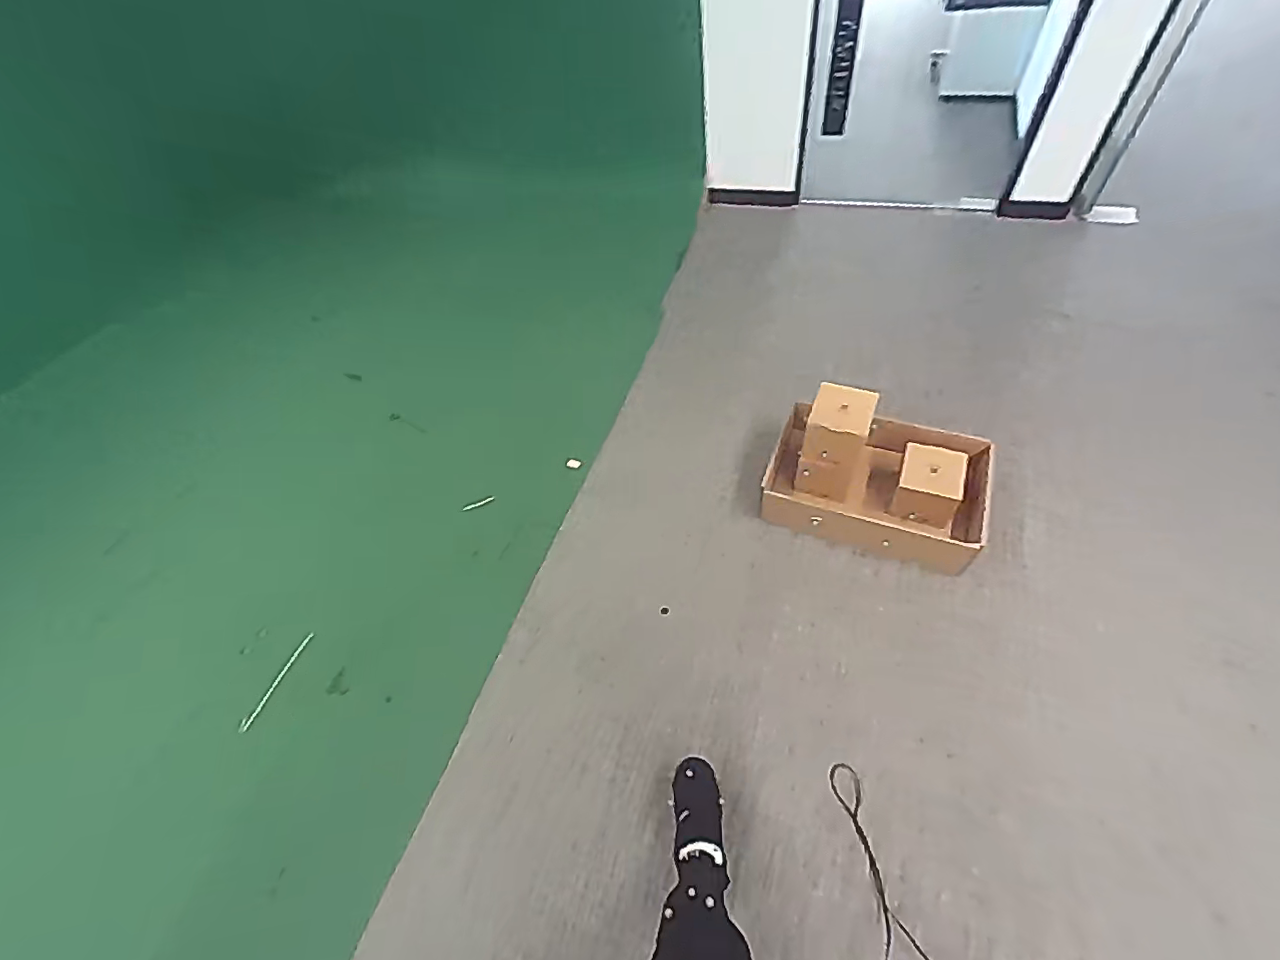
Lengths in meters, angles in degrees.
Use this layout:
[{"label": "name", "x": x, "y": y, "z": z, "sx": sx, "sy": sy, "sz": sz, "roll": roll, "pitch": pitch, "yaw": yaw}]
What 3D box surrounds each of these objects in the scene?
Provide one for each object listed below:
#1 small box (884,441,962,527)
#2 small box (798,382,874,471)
[{"label": "small box", "x": 0.855, "y": 0.014, "z": 1.643, "sx": 0.168, "sy": 0.176, "sz": 0.179, "roll": 15, "pitch": 59, "yaw": 20}, {"label": "small box", "x": 0.578, "y": -0.158, "z": 1.607, "sx": 0.168, "sy": 0.176, "sz": 0.179, "roll": 17, "pitch": 58, "yaw": 18}]
